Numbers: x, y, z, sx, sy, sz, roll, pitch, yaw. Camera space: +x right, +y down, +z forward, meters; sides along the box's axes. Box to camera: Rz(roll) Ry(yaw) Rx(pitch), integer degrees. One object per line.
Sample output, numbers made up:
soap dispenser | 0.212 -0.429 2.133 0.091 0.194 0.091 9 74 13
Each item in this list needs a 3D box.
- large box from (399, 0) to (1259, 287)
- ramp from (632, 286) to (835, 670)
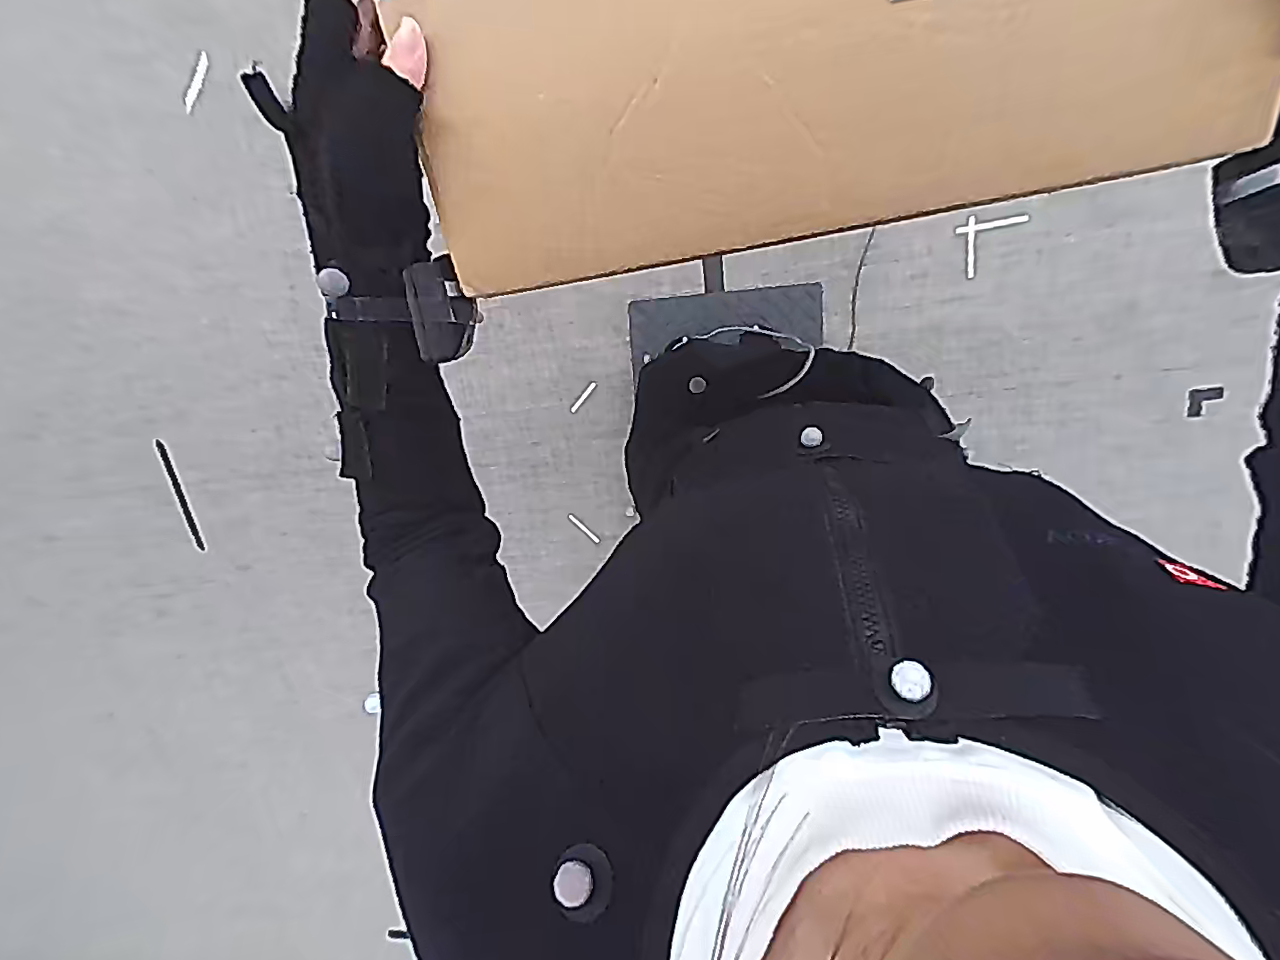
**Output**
large box | 0.082 -0.342 0.377 0.408 0.320 0.320 -7 113 11
ramp | 0.245 0.019 1.438 0.509 0.206 0.991 -4 105 11
